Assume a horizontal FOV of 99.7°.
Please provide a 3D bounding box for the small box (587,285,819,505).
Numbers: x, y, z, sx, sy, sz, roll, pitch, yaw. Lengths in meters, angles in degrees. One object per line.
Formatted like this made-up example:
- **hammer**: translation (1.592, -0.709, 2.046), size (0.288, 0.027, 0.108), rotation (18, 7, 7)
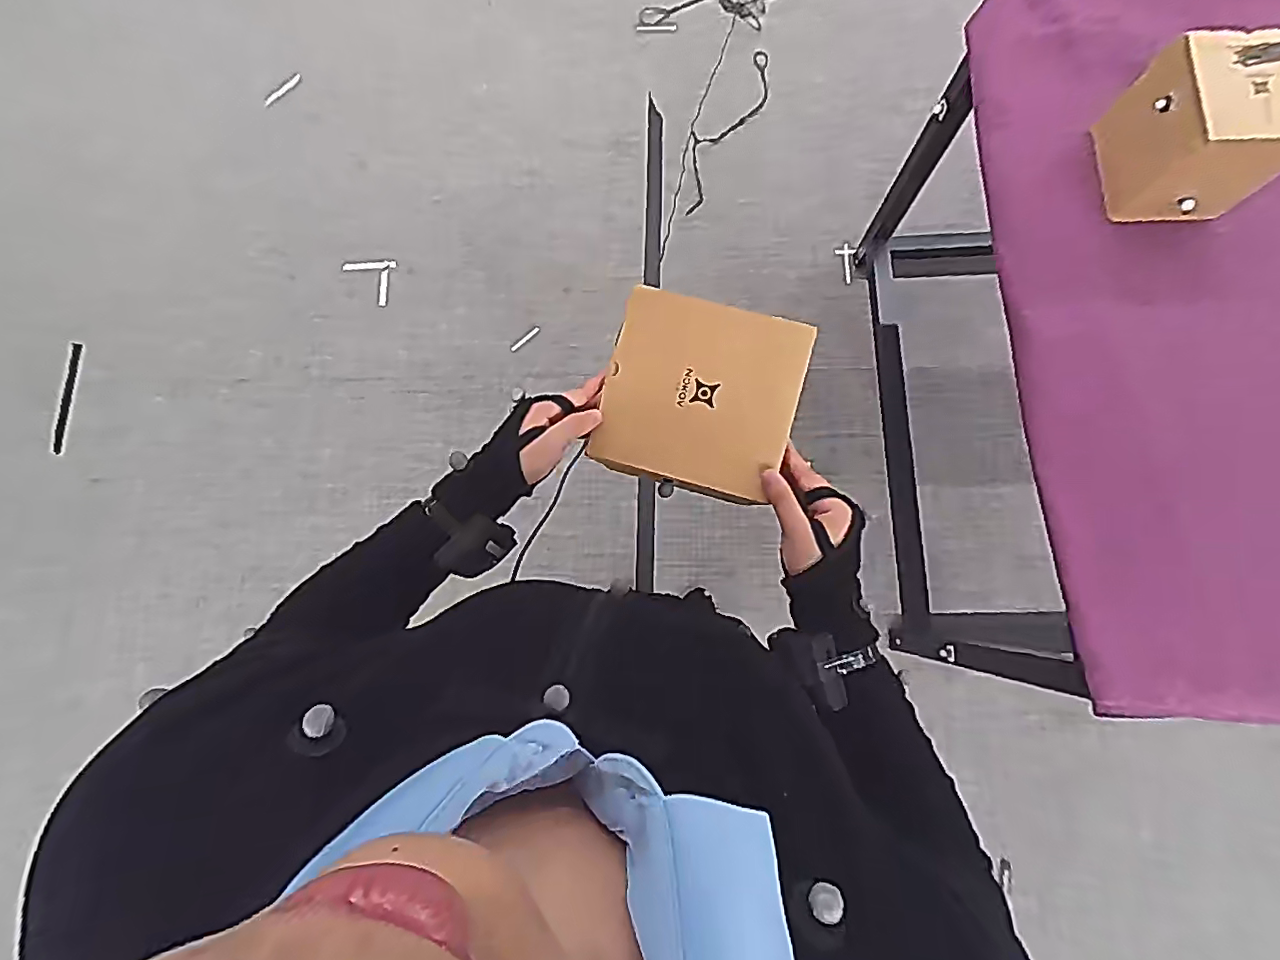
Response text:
- **small box**: translation (0.062, -0.076, 0.566), size (0.179, 0.176, 0.168), rotation (15, 88, 6)

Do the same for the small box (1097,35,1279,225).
- **small box**: translation (0.832, -0.511, 0.806), size (0.168, 0.176, 0.179), rotation (0, 79, 3)
